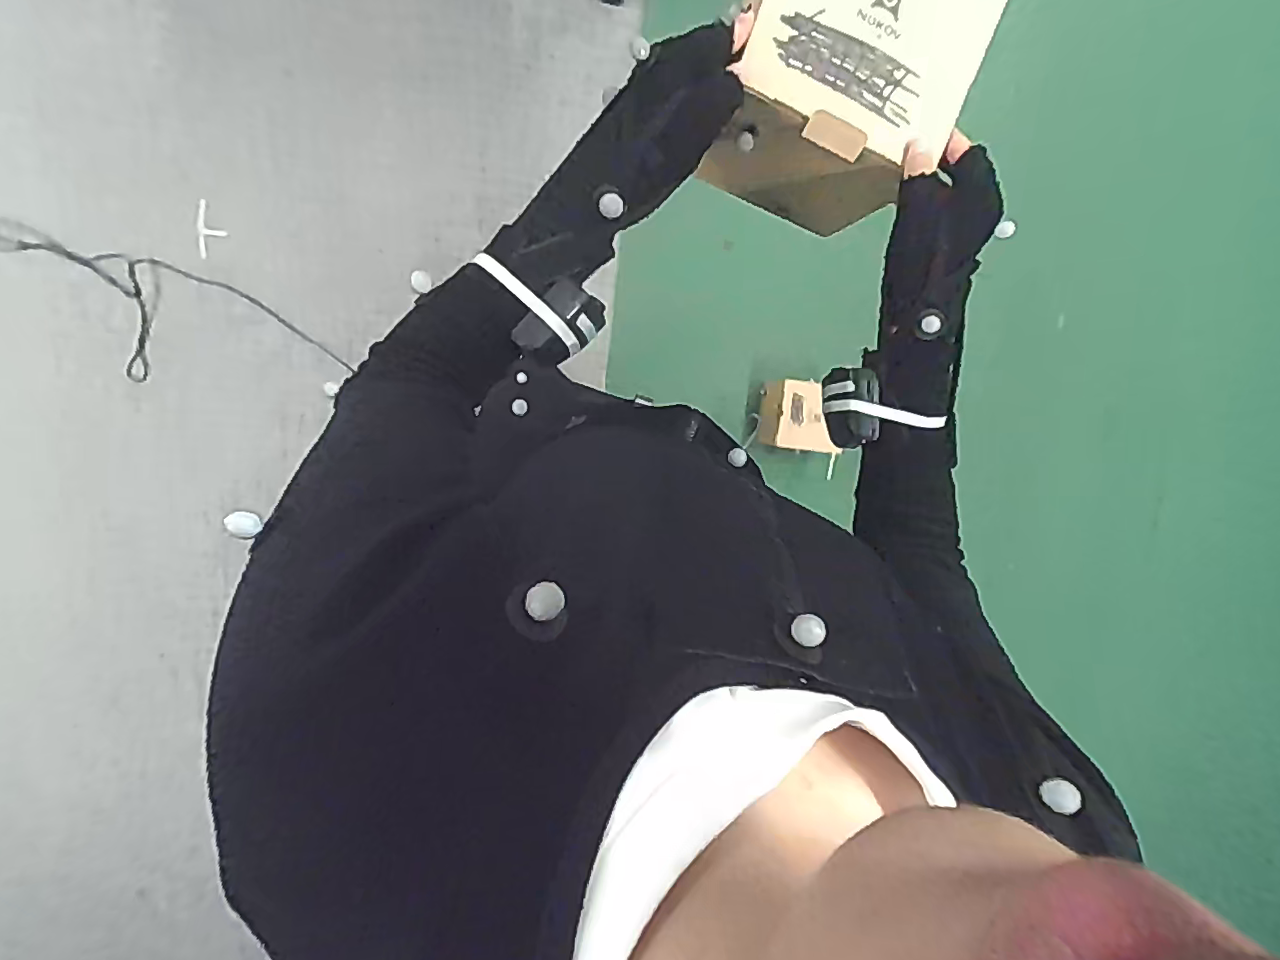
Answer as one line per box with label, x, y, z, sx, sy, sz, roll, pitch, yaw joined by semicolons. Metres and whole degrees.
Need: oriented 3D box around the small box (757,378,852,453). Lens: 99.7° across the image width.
small box;0.417;-0.168;1.405;0.179;0.176;0.168;7;99;-7
